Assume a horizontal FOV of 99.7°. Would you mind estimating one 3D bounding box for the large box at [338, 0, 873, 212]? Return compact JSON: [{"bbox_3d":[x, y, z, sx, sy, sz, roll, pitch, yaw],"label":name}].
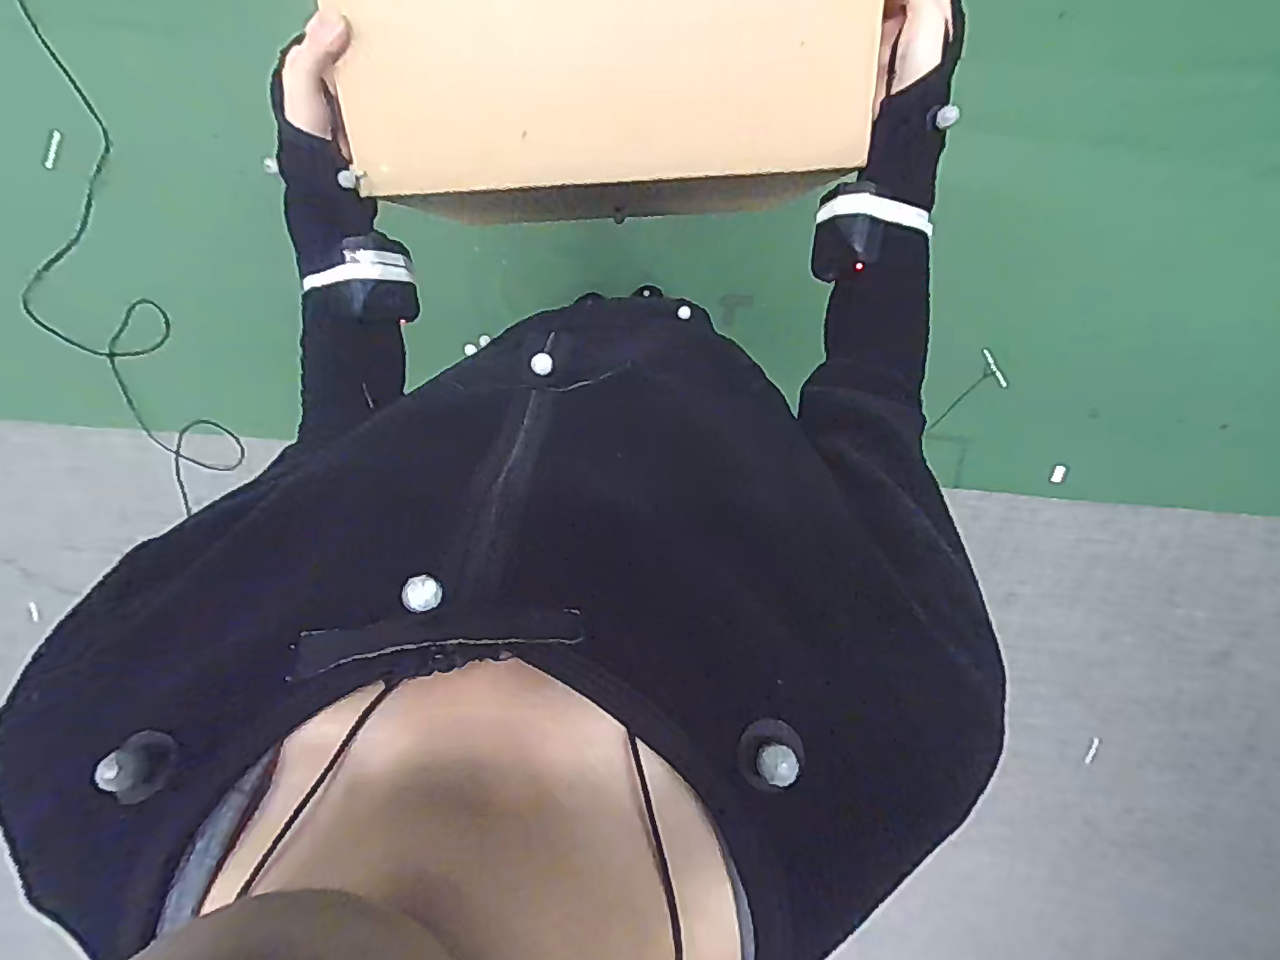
[{"bbox_3d":[-0.026,-0.449,0.522,0.408,0.320,0.320,-3,111,1],"label":"large box"}]
